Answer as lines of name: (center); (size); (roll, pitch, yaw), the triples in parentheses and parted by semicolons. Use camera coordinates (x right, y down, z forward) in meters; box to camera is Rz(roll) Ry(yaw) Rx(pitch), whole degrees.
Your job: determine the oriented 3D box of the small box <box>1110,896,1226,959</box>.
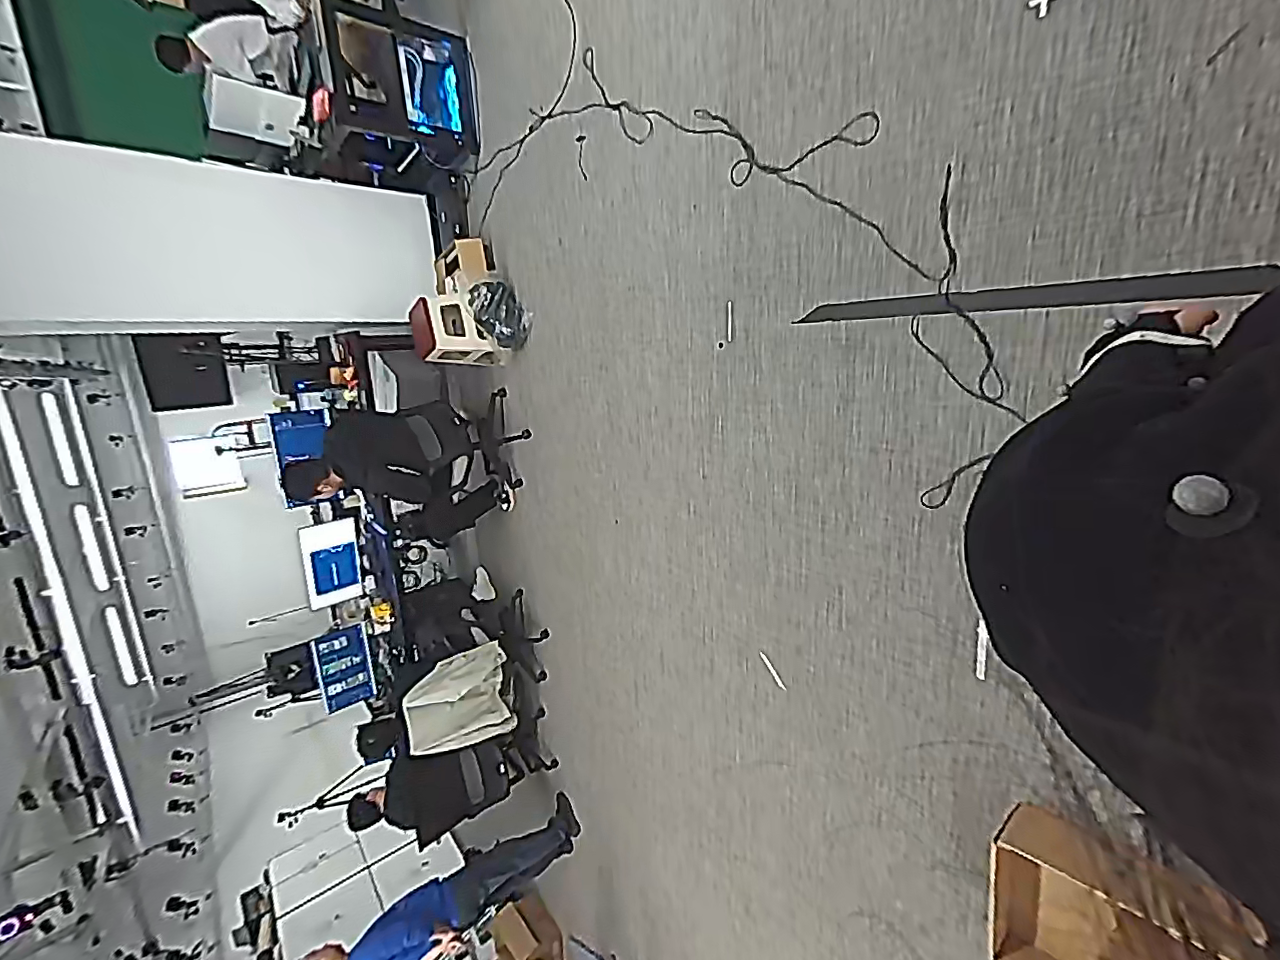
small box: (1.152, 1.079, 1.179); (0.168, 0.176, 0.179); (0, 100, 51)
